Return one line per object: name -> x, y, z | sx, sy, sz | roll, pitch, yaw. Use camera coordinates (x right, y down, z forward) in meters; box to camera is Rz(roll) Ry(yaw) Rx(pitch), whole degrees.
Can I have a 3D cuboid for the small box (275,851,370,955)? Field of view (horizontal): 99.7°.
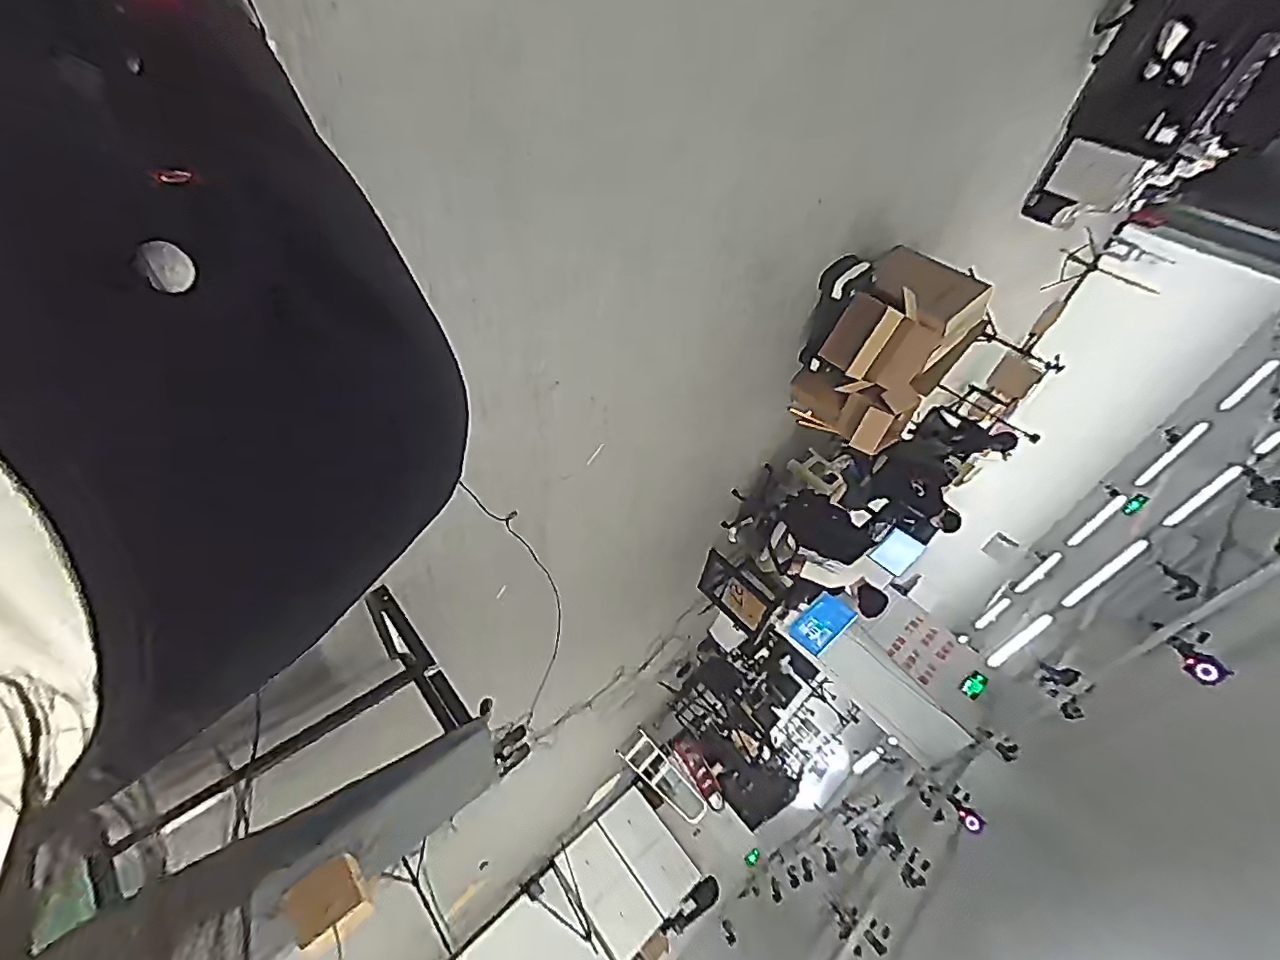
small box -> -0.940, 1.252, 1.607 | 0.179, 0.176, 0.168 | -28, 146, -31
